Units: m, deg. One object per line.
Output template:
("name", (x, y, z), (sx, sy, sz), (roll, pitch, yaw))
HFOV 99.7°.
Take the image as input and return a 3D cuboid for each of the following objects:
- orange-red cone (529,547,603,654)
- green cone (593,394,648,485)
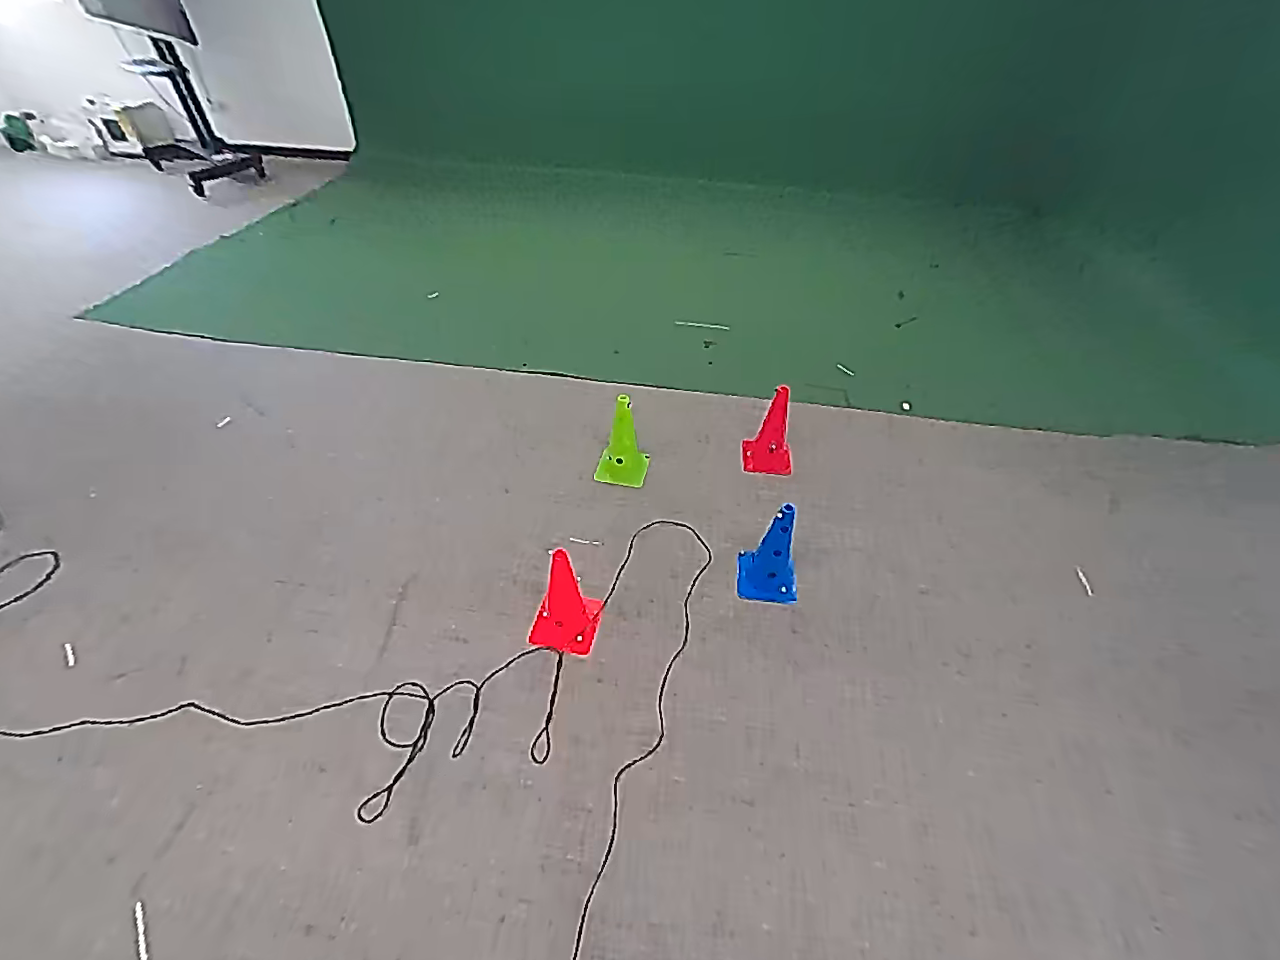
("orange-red cone", (-0.223, 0.321, 1.588), (0.198, 0.360, 0.199), (11, 44, 8))
("green cone", (-0.074, -0.182, 2.098), (0.200, 0.368, 0.202), (8, 46, 7))
